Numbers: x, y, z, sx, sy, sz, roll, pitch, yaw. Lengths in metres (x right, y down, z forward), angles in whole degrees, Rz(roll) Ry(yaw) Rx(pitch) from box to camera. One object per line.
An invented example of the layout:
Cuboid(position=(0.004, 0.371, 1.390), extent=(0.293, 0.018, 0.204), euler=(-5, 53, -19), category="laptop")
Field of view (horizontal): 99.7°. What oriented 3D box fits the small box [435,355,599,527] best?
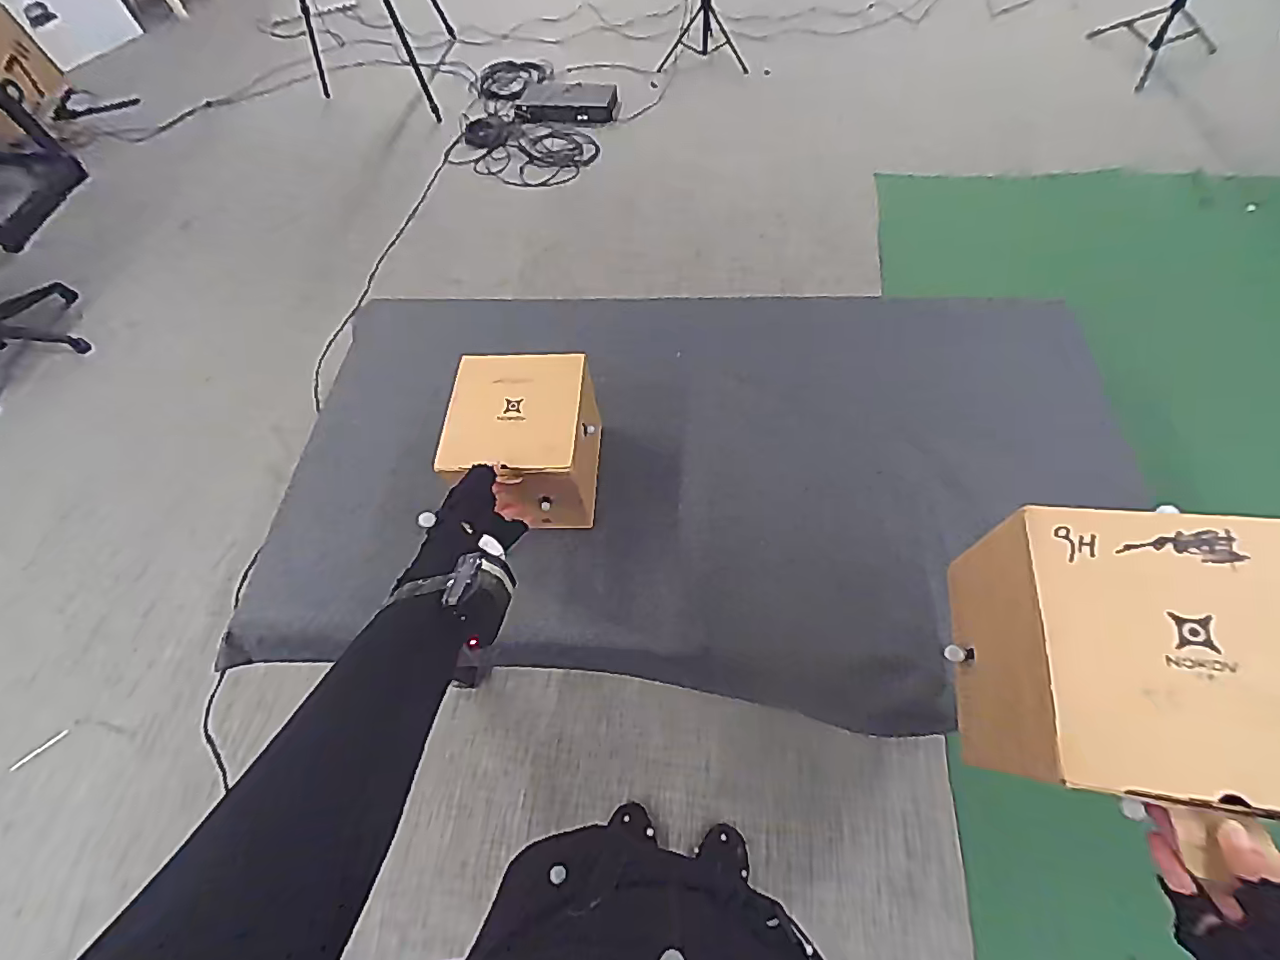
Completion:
Cuboid(position=(-0.150, -0.046, 0.730), extent=(0.168, 0.176, 0.179), euler=(0, 60, 4), category="small box")
